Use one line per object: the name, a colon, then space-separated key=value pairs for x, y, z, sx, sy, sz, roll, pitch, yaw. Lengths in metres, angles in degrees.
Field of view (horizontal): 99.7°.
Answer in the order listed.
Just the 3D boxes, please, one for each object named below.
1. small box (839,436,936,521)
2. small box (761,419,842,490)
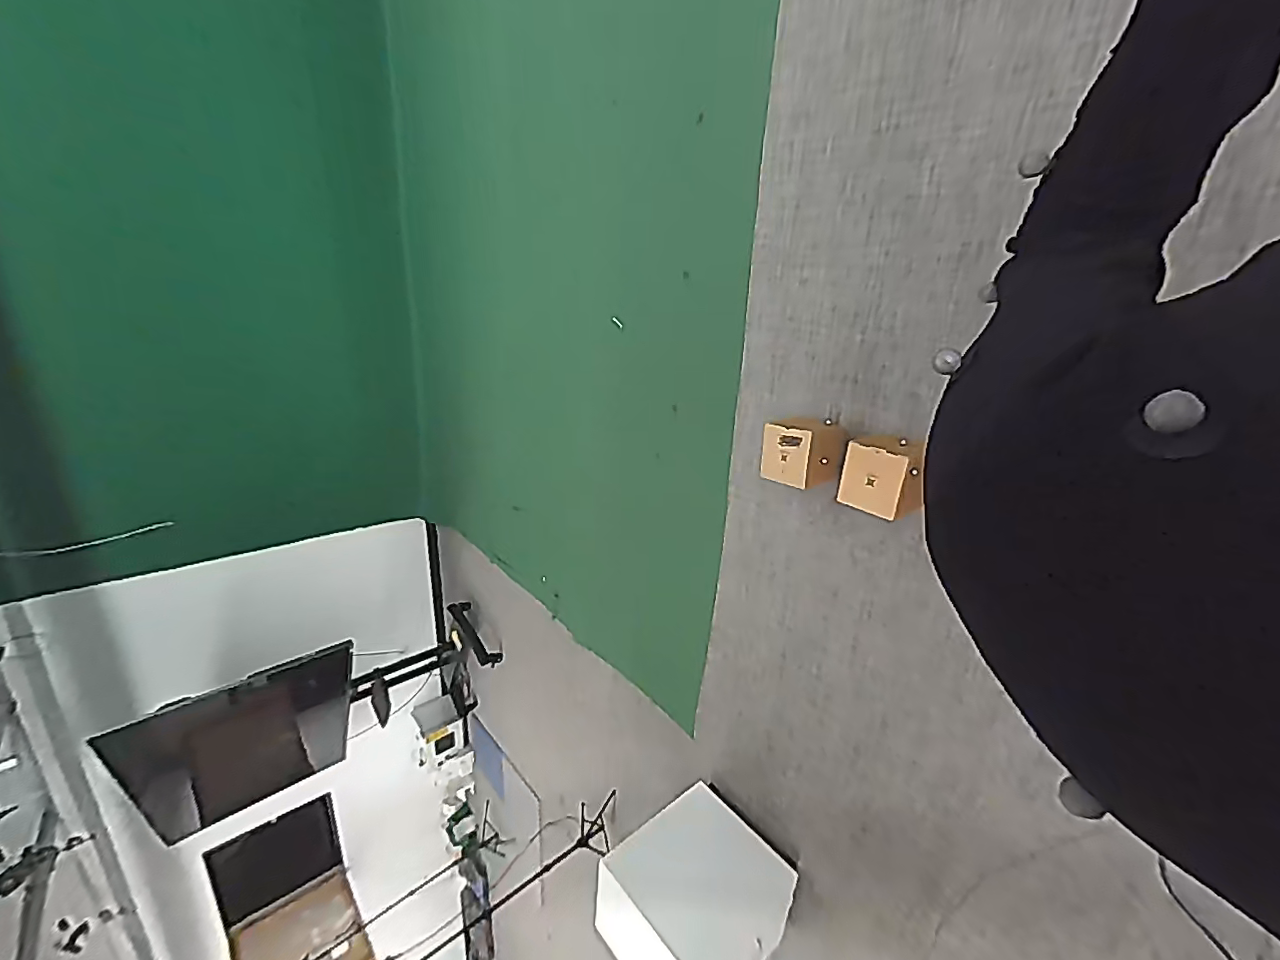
small box: x=0.670 y=-0.012 z=1.462 sx=0.168 sy=0.176 sz=0.179 roll=25 pitch=118 yaw=45
small box: x=0.496 y=-0.087 z=1.653 sx=0.168 sy=0.176 sz=0.179 roll=21 pitch=116 yaw=46
